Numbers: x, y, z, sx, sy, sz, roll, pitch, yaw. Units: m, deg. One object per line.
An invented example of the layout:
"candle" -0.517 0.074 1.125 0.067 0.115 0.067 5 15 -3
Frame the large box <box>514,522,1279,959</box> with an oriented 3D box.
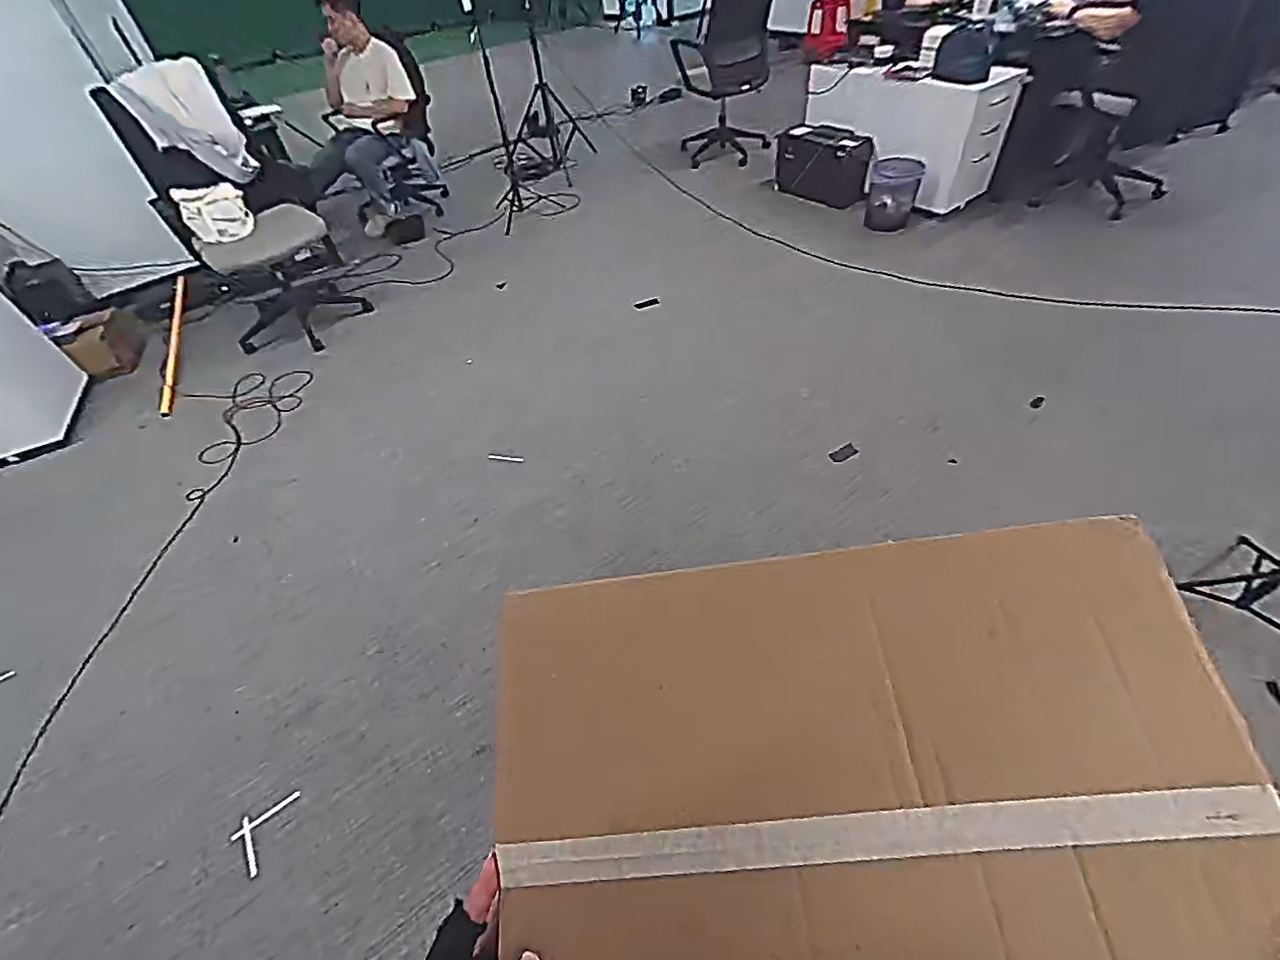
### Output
"large box" 0.143 0.253 0.434 0.408 0.320 0.320 -9 67 7
